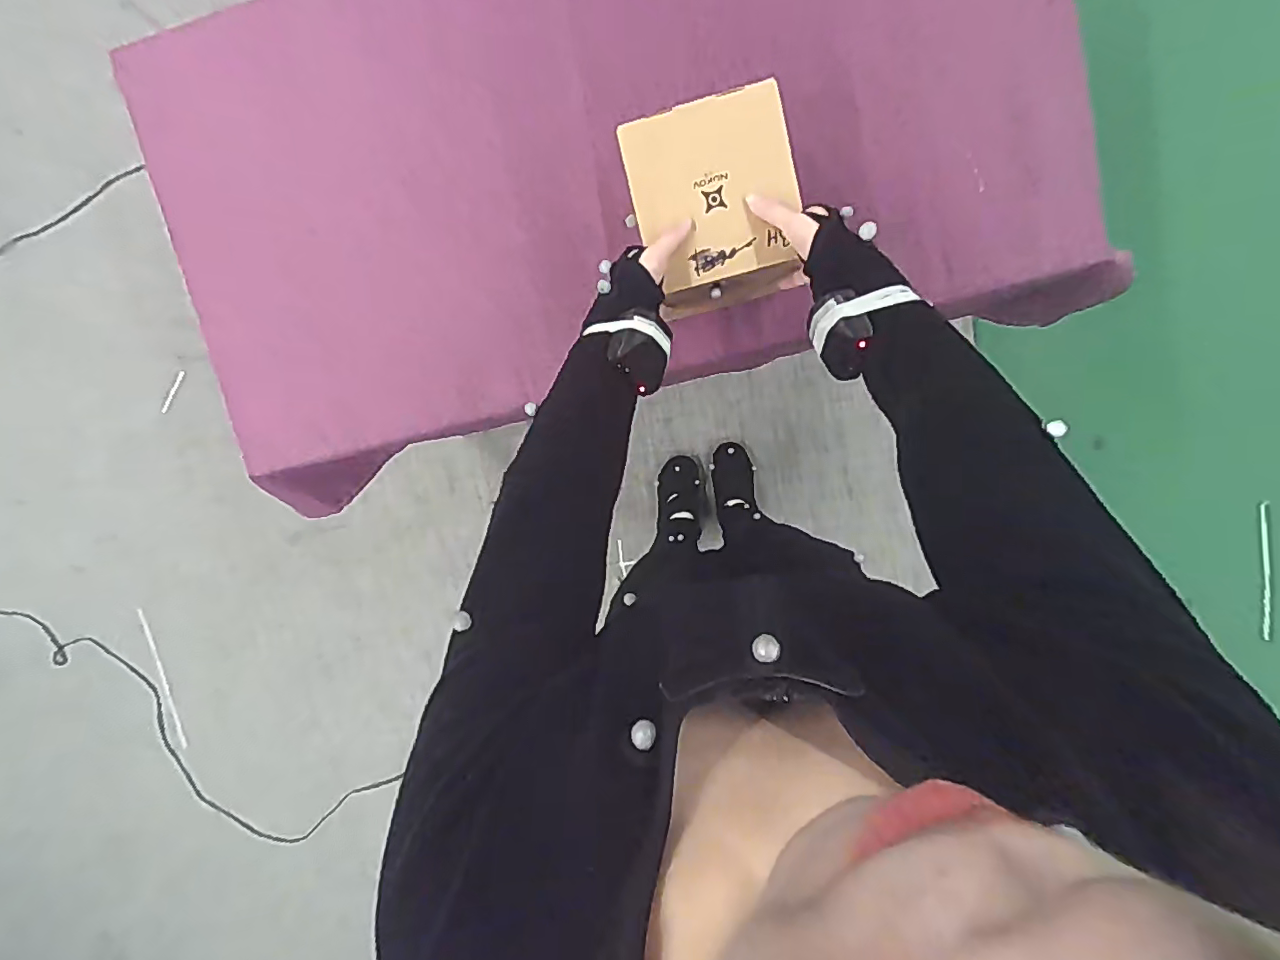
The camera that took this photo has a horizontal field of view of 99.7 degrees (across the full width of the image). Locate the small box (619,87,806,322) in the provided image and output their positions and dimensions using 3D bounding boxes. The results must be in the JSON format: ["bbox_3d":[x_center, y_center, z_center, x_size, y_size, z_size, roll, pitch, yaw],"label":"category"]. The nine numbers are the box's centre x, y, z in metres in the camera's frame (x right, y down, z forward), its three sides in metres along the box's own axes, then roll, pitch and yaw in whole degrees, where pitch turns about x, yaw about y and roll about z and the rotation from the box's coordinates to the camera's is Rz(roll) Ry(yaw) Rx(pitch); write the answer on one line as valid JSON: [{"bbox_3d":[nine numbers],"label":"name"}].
[{"bbox_3d":[0.081,-0.301,0.632,0.168,0.176,0.179,-13,96,8],"label":"small box"}]
